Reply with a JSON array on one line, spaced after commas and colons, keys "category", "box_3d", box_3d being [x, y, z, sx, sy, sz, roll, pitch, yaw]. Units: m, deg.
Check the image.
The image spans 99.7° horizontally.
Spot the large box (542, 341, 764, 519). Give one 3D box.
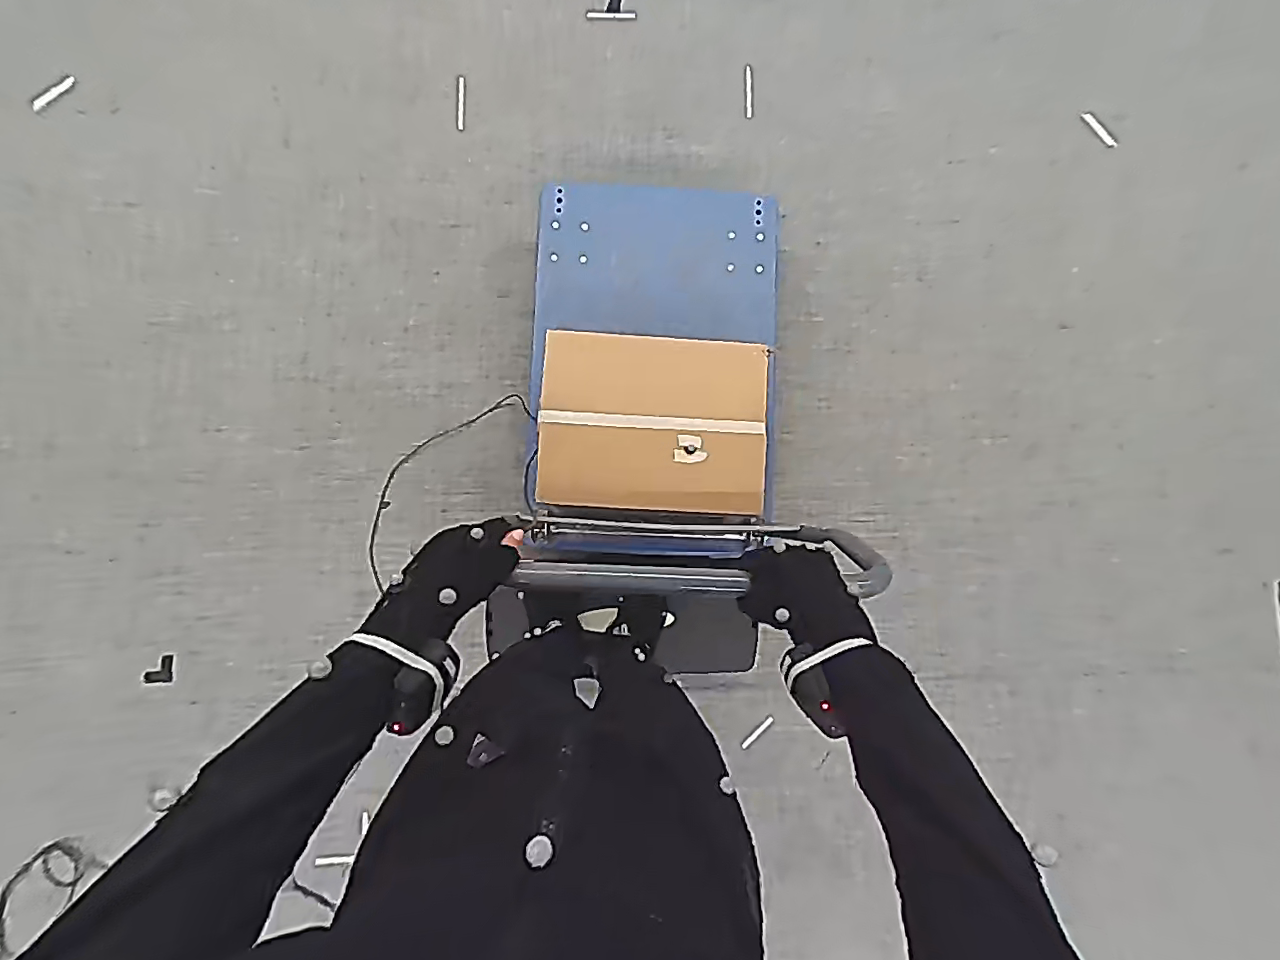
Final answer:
[{"category": "large box", "box_3d": [0.018, -0.081, 1.134, 0.408, 0.320, 0.320, 3, 86, -3]}]
